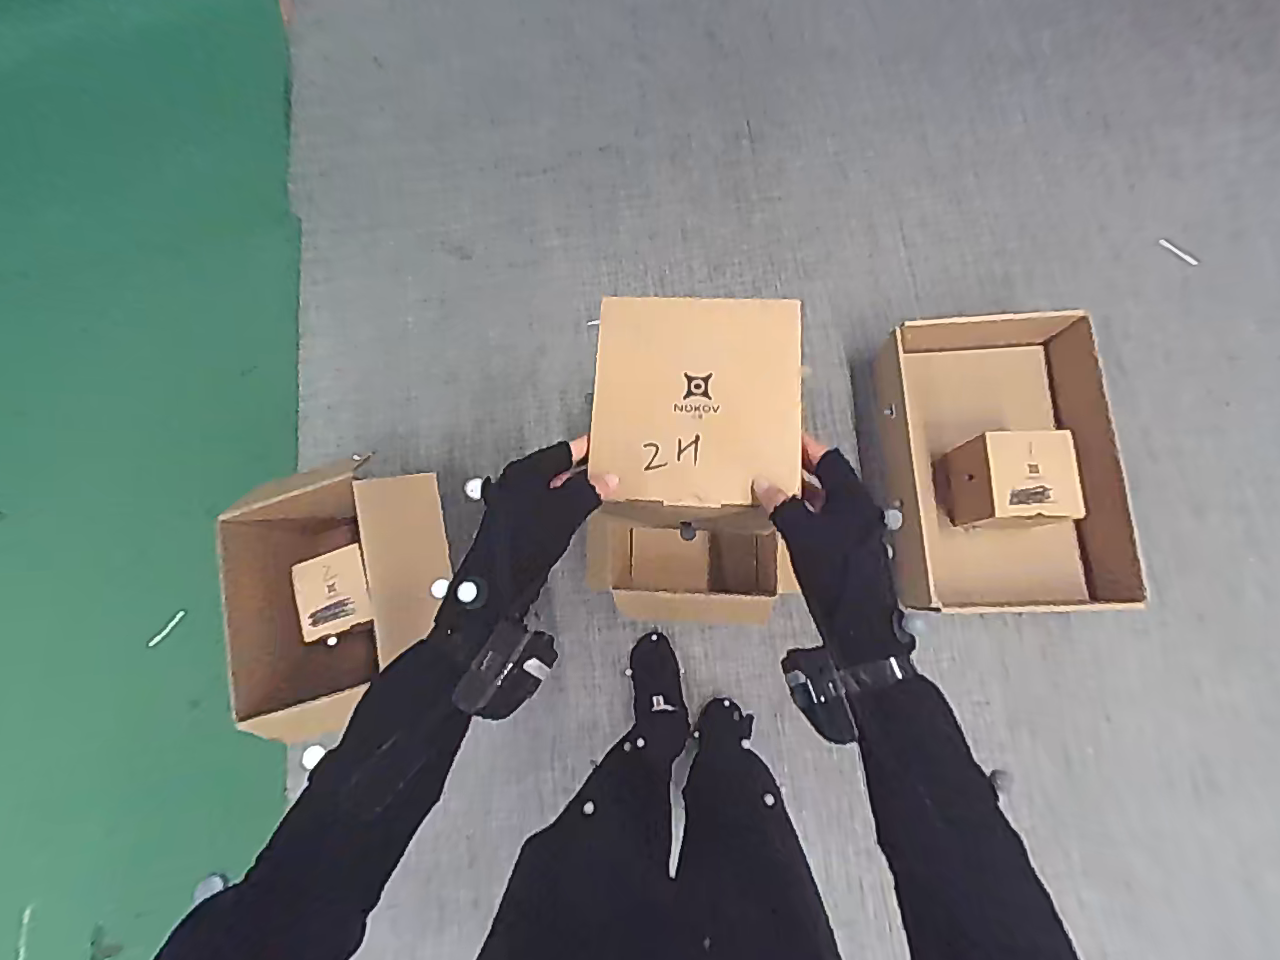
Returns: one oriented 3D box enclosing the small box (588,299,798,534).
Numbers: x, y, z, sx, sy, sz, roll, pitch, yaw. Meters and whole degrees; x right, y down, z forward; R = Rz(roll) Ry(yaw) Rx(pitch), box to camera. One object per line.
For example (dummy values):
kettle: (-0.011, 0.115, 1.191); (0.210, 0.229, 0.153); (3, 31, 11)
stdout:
small box: (0.050, -0.050, 0.518); (0.168, 0.176, 0.179); (3, 78, 5)

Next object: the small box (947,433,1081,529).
small box: (0.771, 0.008, 1.134); (0.168, 0.176, 0.179); (0, 77, 5)
